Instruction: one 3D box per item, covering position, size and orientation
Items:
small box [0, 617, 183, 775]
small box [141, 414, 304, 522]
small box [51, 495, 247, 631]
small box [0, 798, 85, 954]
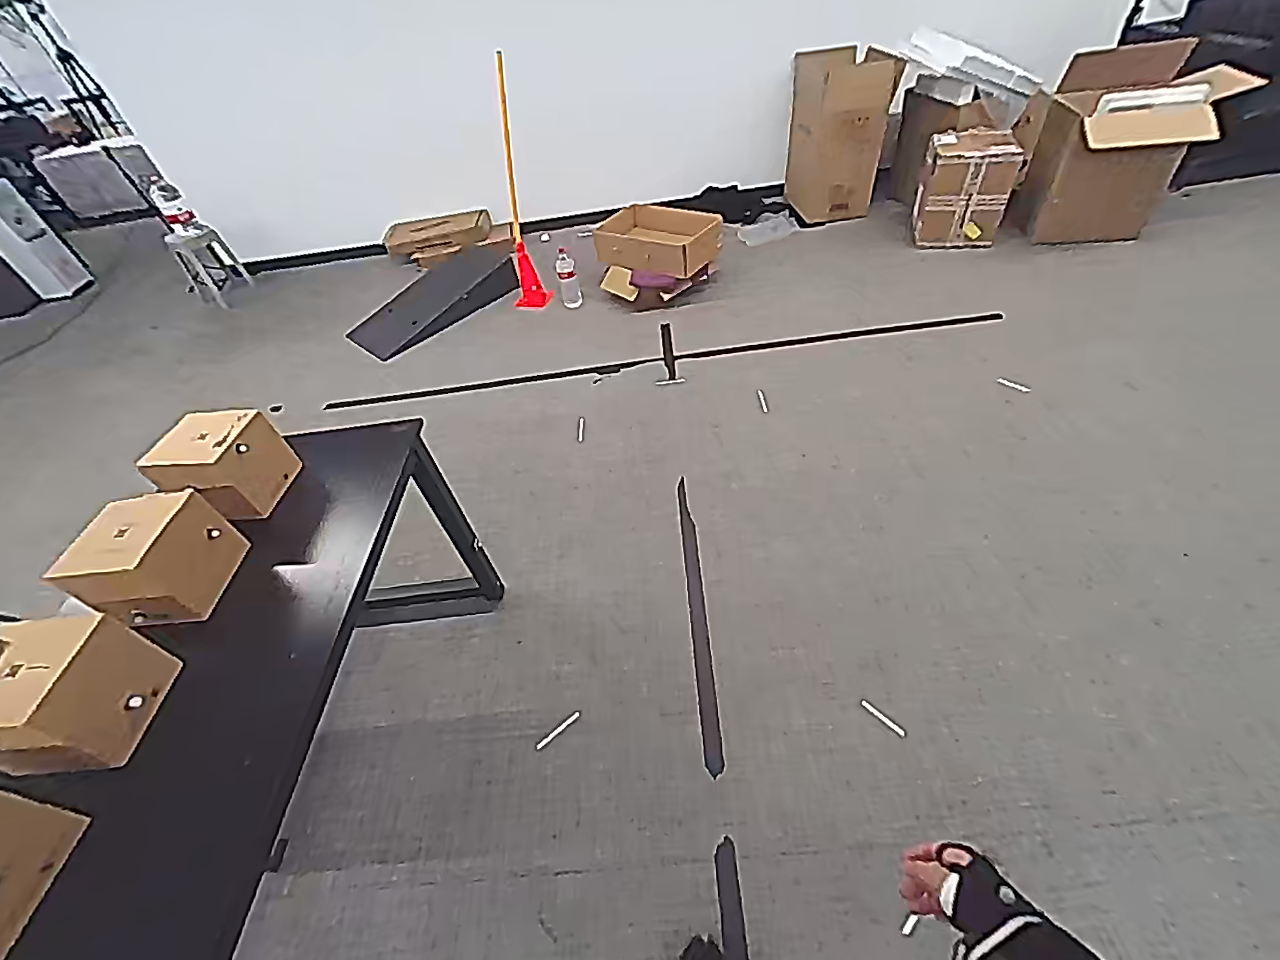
[{"bbox_3d":[-0.862,0.327,0.810,0.179,0.176,0.168,-6,45,3],"label":"small box"},{"bbox_3d":[-0.877,-0.020,1.155,0.179,0.176,0.168,-3,46,8],"label":"small box"},{"bbox_3d":[-0.870,0.153,0.987,0.168,0.176,0.179,-7,46,5],"label":"small box"},{"bbox_3d":[-0.859,0.486,0.652,0.179,0.176,0.168,-5,45,6],"label":"small box"}]
